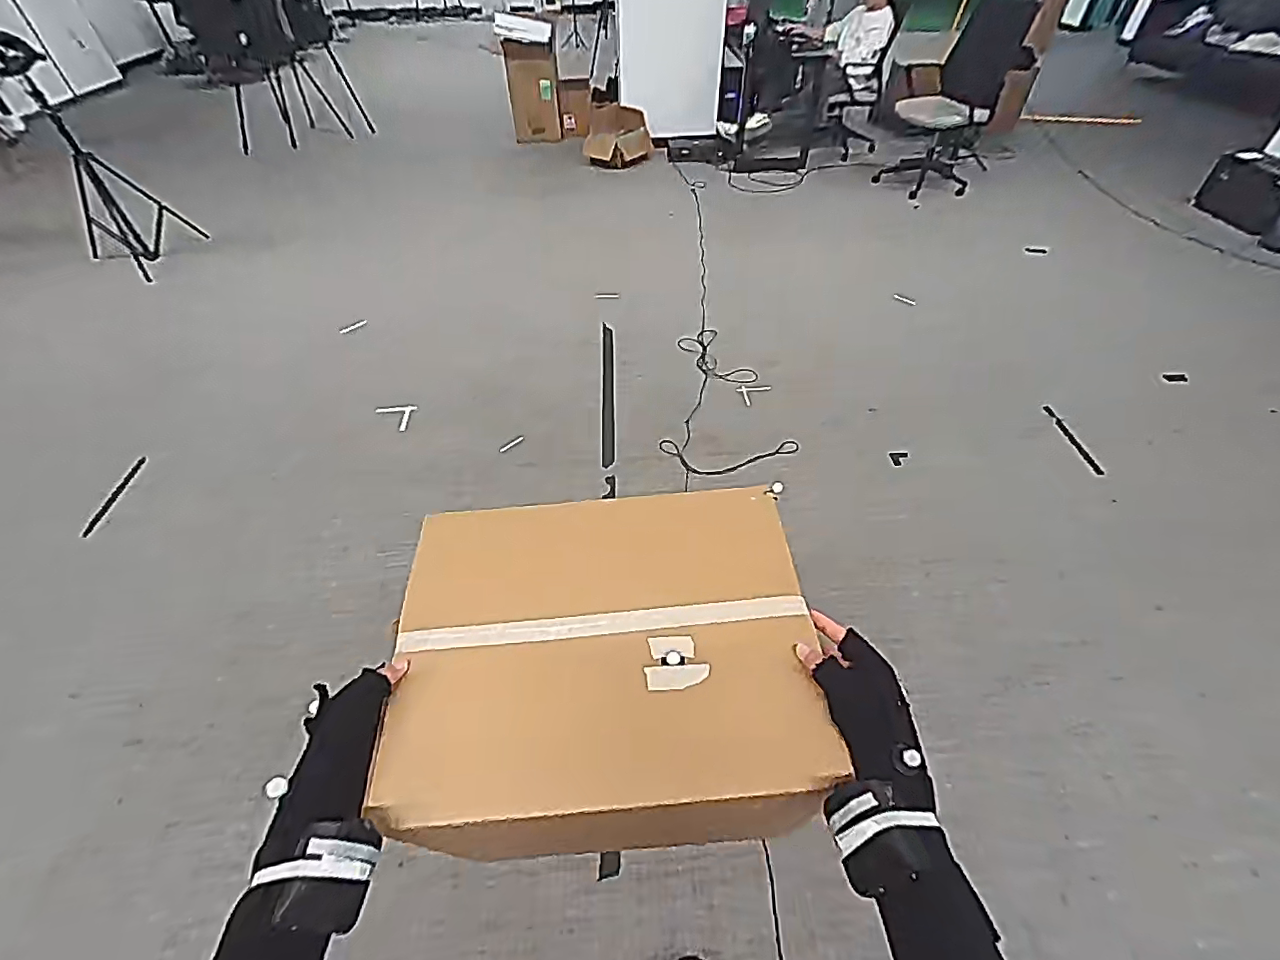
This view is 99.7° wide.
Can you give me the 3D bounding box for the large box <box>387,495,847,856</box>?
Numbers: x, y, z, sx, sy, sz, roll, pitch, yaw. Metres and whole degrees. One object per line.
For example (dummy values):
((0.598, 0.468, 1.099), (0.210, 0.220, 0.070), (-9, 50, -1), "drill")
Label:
((-0.025, 0.246, 0.666), (0.408, 0.320, 0.320), (-4, 52, -1), "large box")
